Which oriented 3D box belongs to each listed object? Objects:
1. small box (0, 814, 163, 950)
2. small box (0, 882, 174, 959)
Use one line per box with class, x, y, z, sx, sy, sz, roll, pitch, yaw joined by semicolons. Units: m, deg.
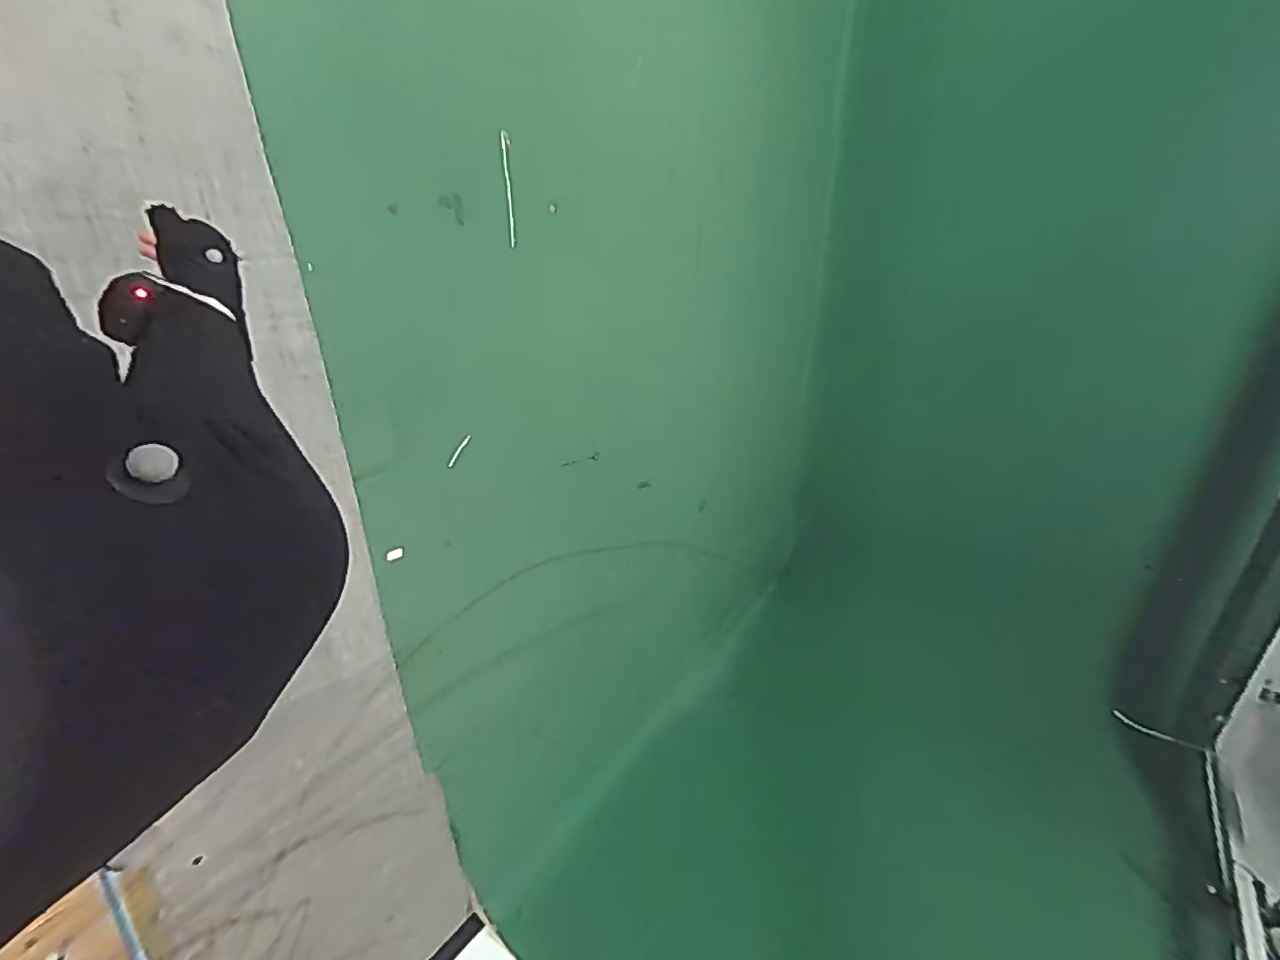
small box;-0.920;0.681;0.865;0.168;0.176;0.179;-29;128;-42
small box;-0.796;0.730;0.770;0.168;0.176;0.179;-29;126;-41
